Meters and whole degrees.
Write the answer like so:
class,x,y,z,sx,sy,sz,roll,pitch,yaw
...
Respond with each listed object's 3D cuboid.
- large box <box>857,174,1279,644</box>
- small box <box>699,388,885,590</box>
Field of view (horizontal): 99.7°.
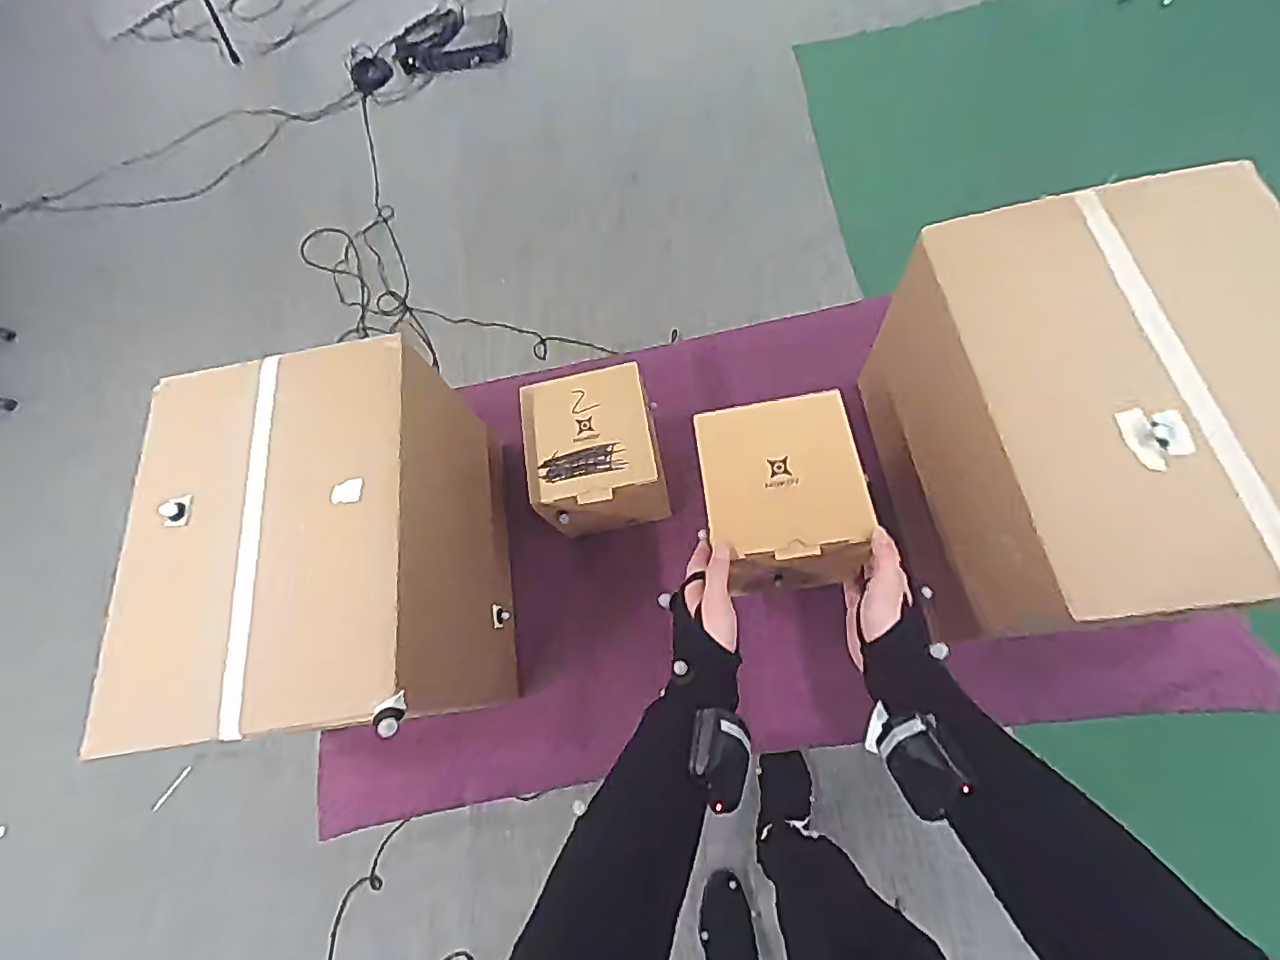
class,x,y,z,sx,sy,sz,roll,pitch,yaw
large box,0.485,-0.046,0.613,0.320,0.320,0.408,-10,69,6
small box,0.165,0.019,0.643,0.168,0.176,0.179,-10,65,7
